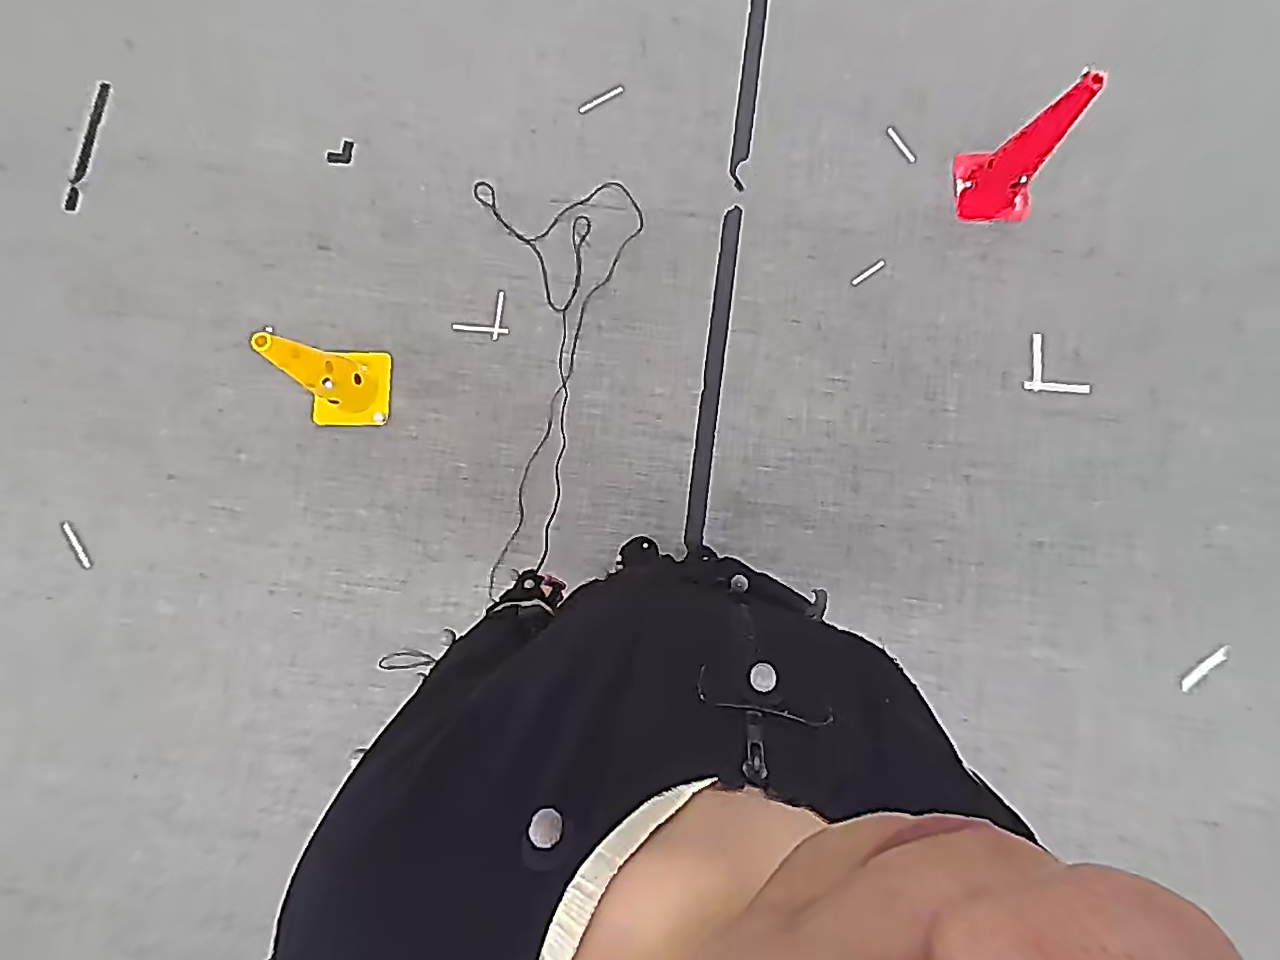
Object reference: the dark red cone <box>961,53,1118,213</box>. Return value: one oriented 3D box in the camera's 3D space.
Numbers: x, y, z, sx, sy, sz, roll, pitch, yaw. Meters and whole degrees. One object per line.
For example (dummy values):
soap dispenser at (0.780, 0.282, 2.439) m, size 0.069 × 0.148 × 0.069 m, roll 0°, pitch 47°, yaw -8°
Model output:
dark red cone at (0.968, -0.838, 1.298) m, size 0.201 × 0.394 × 0.202 m, roll -1°, pitch 83°, yaw 2°
